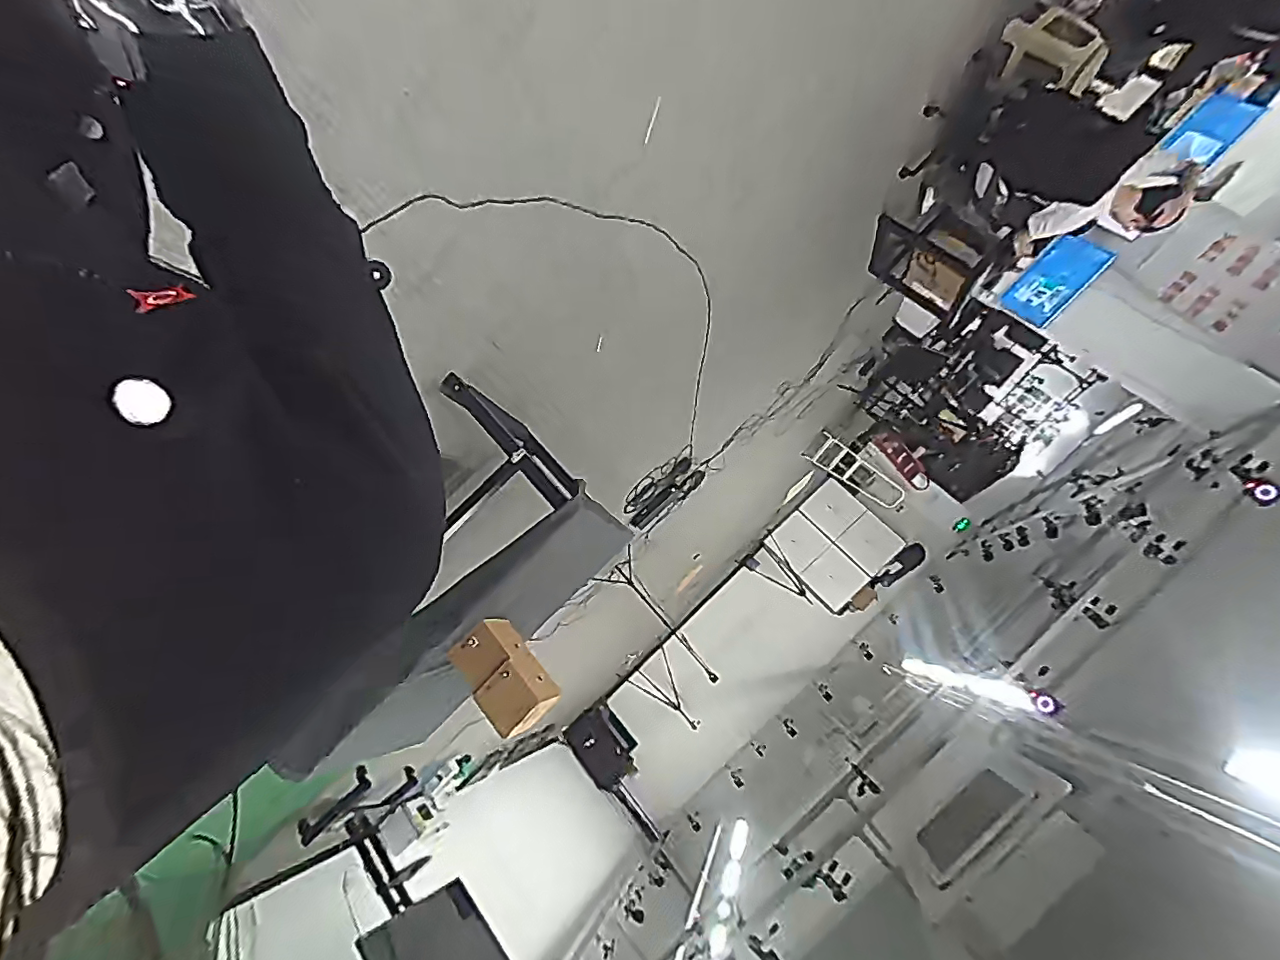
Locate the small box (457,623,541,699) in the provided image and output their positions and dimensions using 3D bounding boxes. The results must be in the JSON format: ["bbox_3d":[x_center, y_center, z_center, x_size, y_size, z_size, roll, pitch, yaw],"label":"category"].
[{"bbox_3d":[-0.460,0.586,1.771,0.168,0.176,0.179,-46,158,-1],"label":"small box"}]

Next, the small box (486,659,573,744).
[{"bbox_3d":[-0.351,0.688,1.702,0.168,0.176,0.179,-47,160,2],"label":"small box"}]
